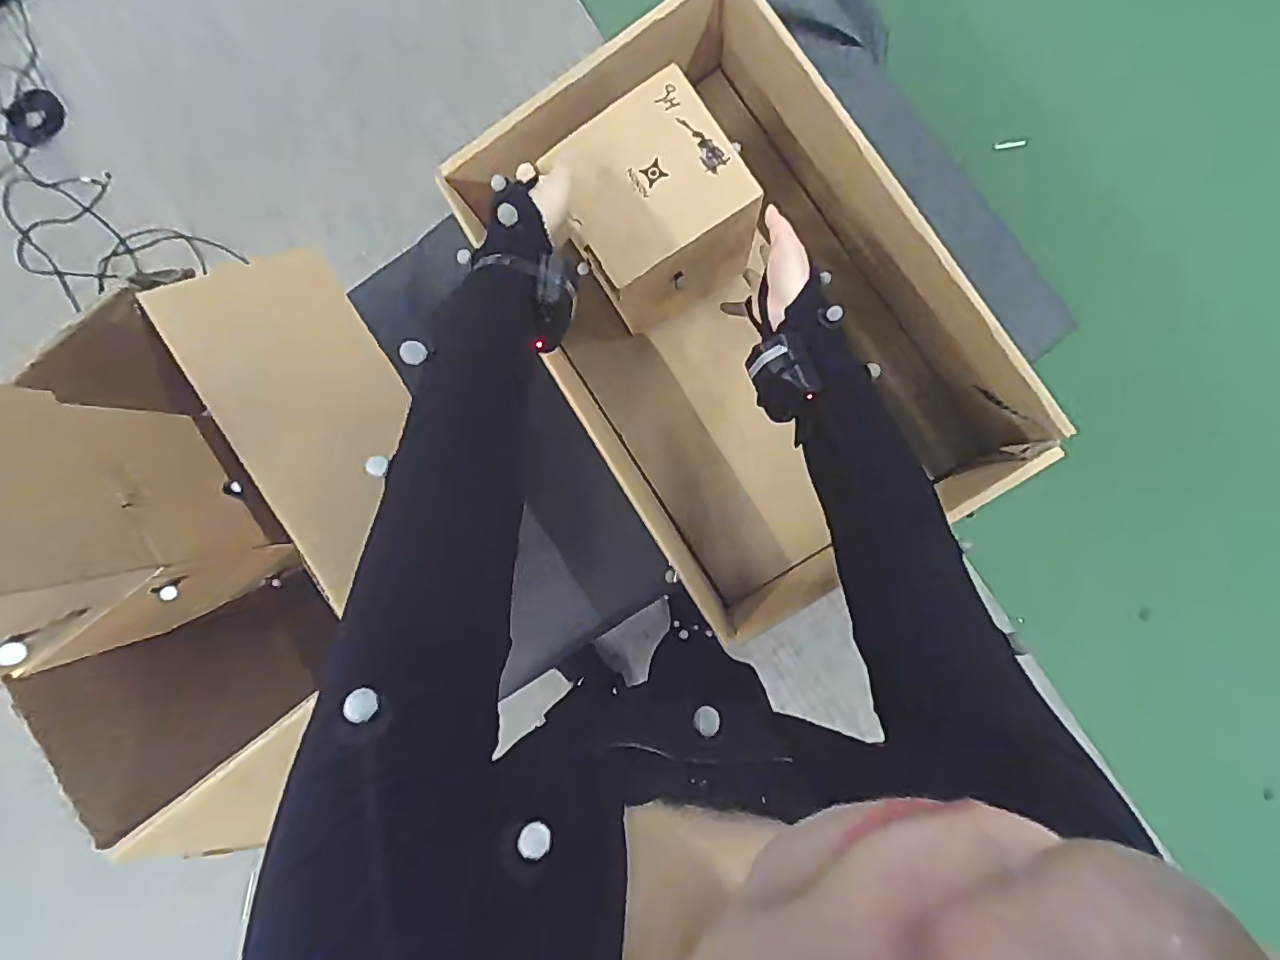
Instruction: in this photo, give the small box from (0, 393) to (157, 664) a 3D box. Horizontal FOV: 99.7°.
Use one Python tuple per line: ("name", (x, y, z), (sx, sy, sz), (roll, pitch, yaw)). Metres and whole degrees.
("small box", (-0.508, 0.043, 0.372), (0.168, 0.176, 0.179), (-34, 89, 6))
